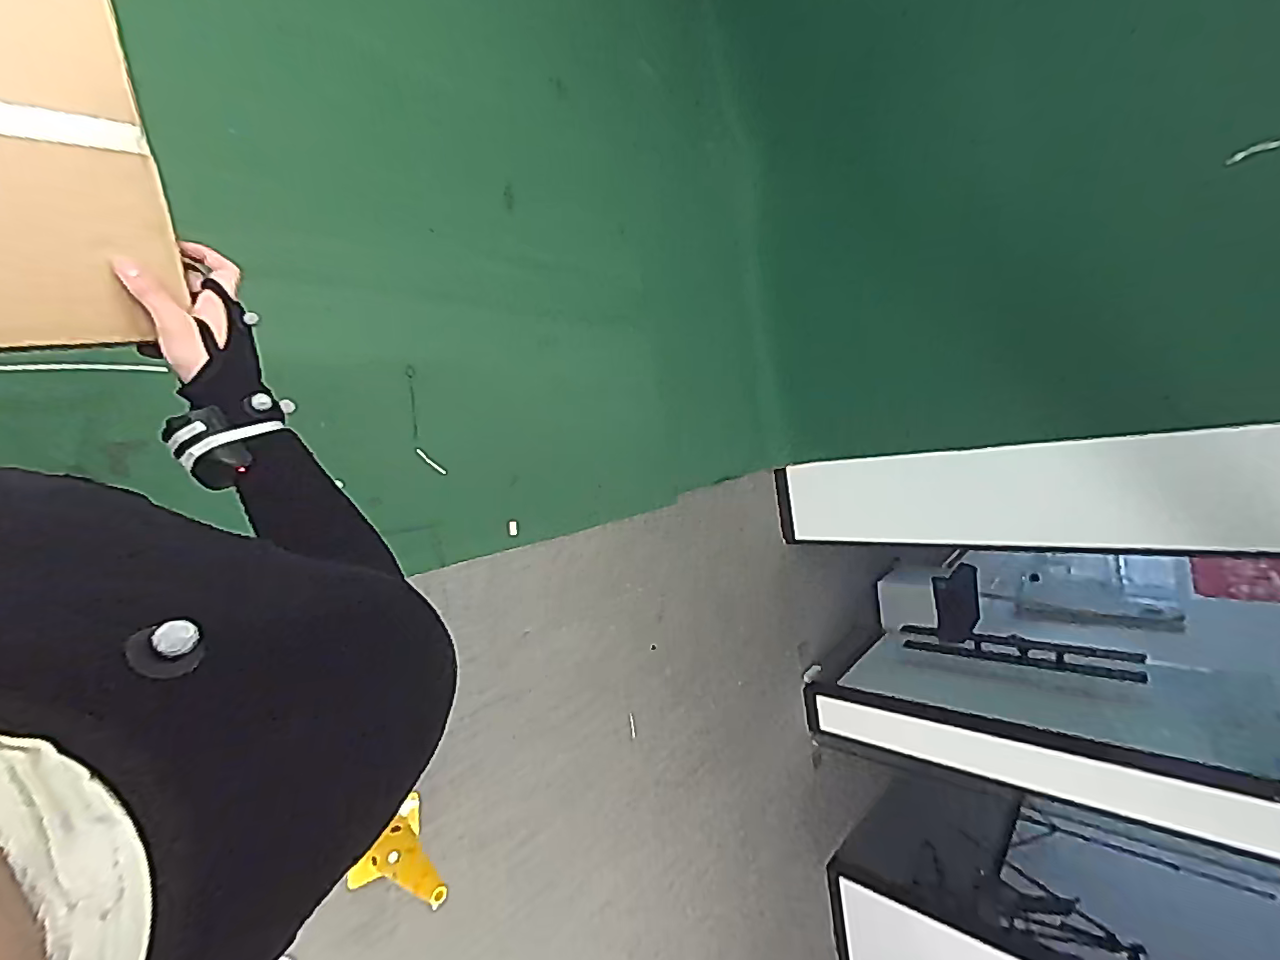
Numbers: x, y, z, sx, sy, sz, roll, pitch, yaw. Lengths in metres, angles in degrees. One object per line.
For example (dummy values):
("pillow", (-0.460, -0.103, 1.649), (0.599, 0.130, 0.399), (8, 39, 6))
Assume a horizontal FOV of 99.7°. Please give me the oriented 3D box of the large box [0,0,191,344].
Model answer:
("large box", (-0.658, -0.257, 0.405), (0.408, 0.320, 0.320), (-20, 114, -45))
